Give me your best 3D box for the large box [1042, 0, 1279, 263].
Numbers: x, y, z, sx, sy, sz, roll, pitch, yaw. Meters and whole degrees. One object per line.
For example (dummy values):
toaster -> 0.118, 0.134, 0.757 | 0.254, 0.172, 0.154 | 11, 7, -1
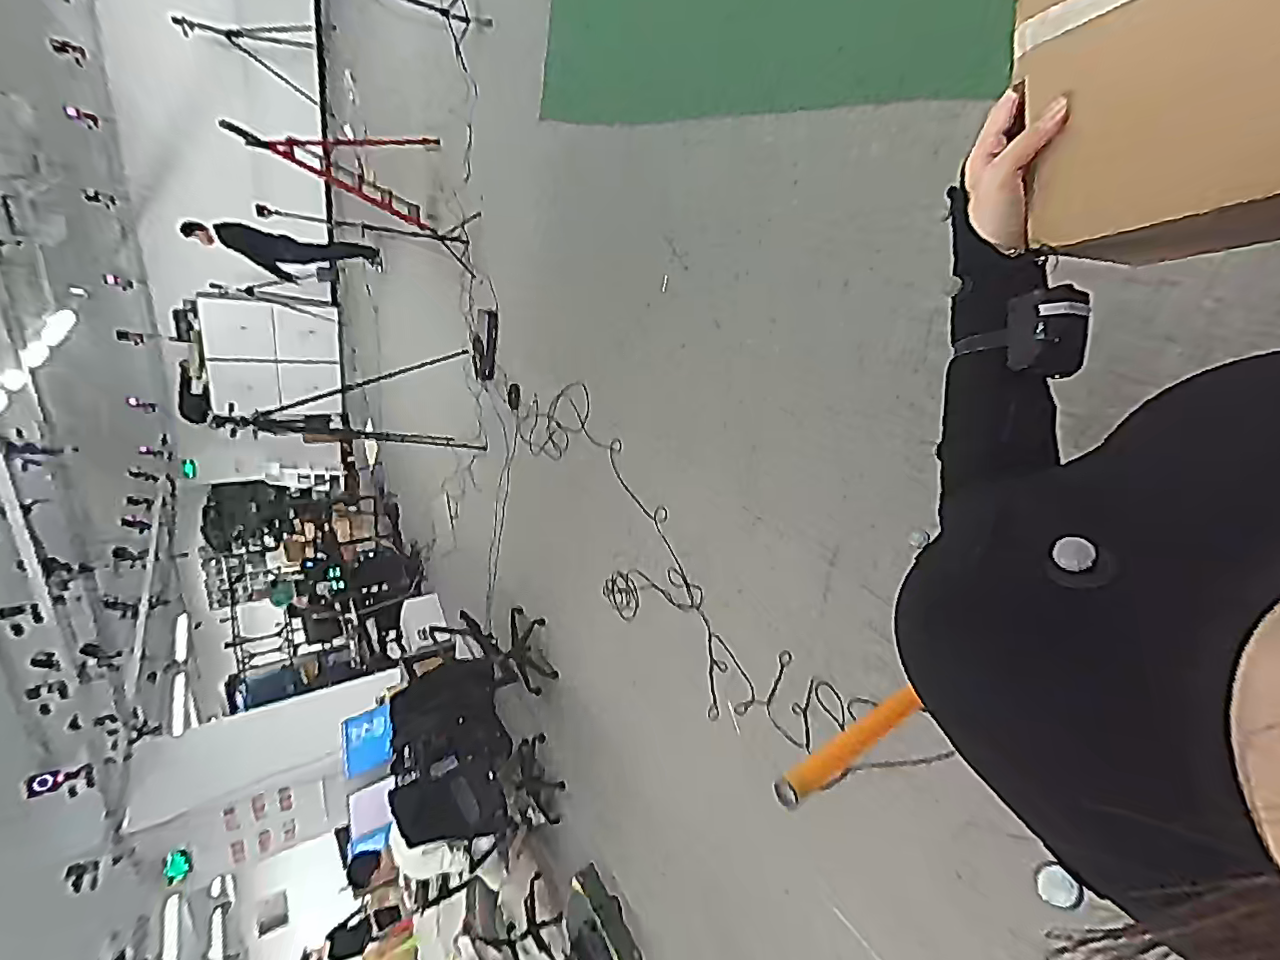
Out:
large box -> 0.537, -0.357, 0.340 | 0.408, 0.320, 0.320 | 4, 105, 52
